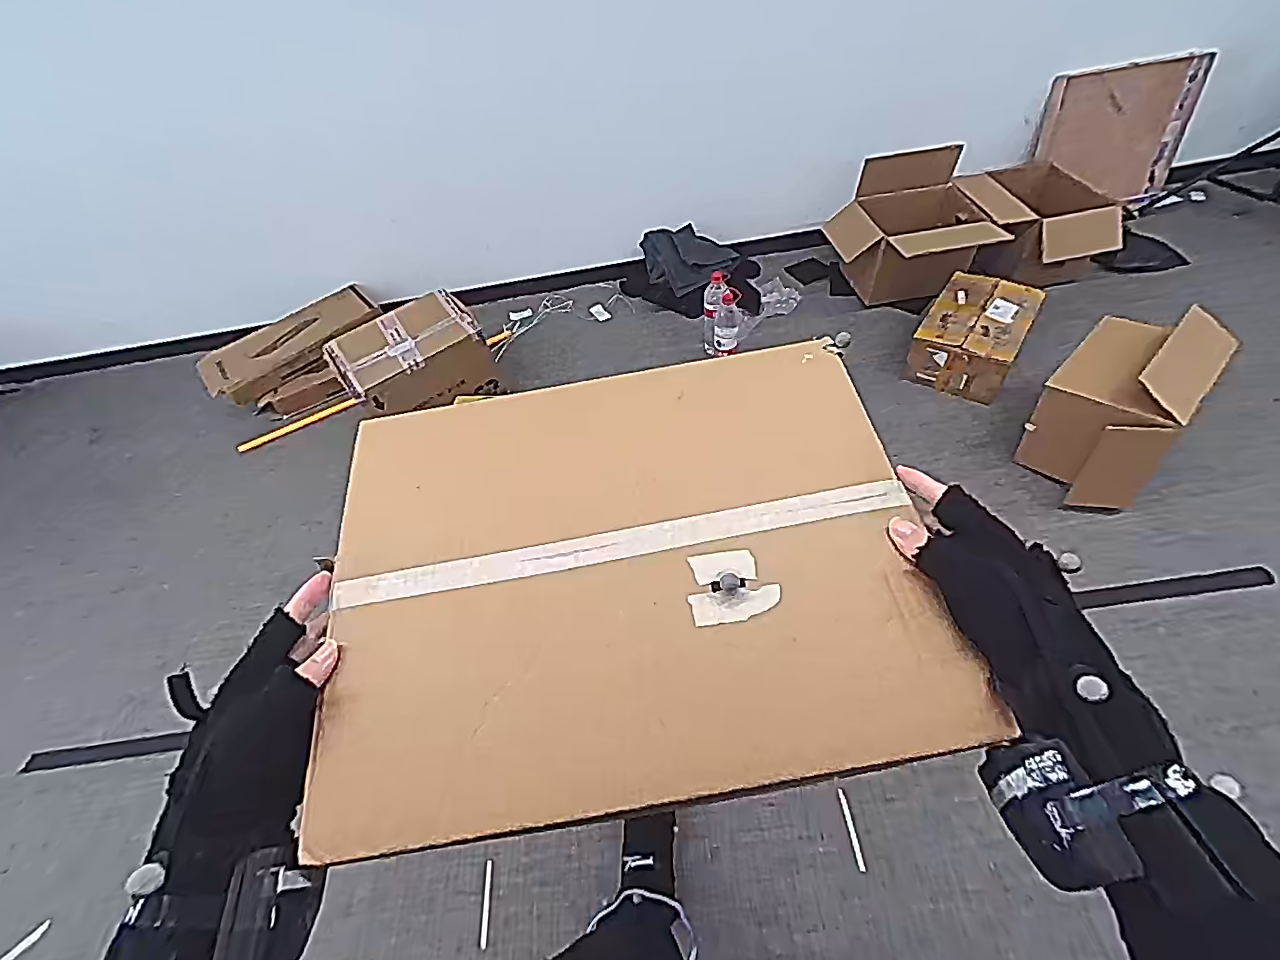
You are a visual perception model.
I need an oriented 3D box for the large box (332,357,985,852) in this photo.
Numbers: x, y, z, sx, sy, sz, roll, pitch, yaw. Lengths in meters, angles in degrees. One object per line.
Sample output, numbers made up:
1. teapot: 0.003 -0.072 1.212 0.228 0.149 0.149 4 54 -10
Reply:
1. large box: 0.000 0.130 0.521 0.408 0.320 0.320 -10 59 -1
